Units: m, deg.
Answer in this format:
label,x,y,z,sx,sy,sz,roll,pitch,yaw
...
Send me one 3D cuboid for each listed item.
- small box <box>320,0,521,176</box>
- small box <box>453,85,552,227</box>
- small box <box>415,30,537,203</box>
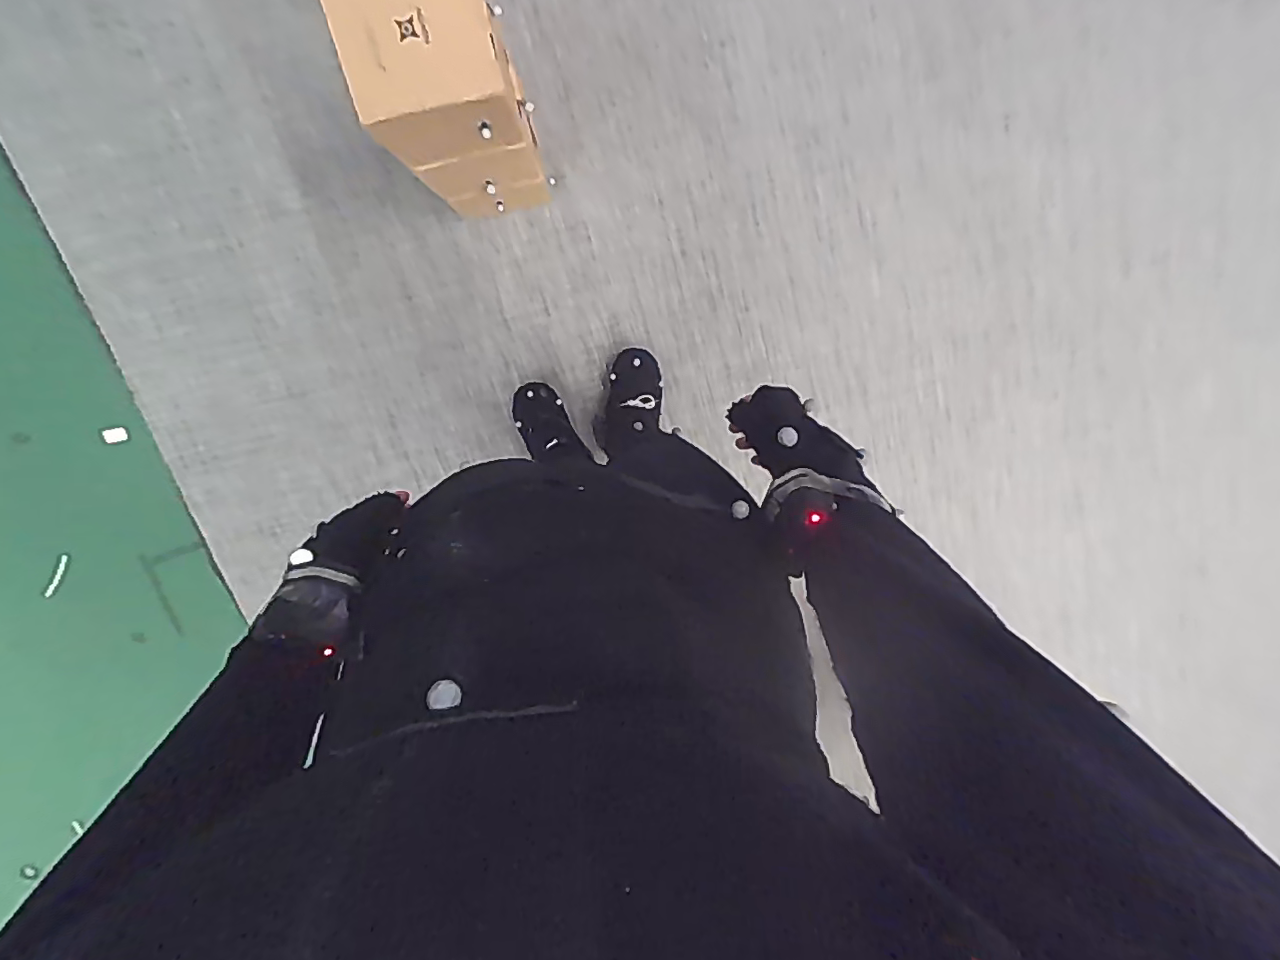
label,x,y,z,sx,sy,sz,roll,pitch,yaw
small box,-0.260,-0.515,0.689,0.179,0.176,0.168,-14,105,1
small box,-0.268,-0.591,1.007,0.179,0.176,0.168,-16,105,0
small box,-0.266,-0.553,0.847,0.179,0.176,0.168,-13,105,0
